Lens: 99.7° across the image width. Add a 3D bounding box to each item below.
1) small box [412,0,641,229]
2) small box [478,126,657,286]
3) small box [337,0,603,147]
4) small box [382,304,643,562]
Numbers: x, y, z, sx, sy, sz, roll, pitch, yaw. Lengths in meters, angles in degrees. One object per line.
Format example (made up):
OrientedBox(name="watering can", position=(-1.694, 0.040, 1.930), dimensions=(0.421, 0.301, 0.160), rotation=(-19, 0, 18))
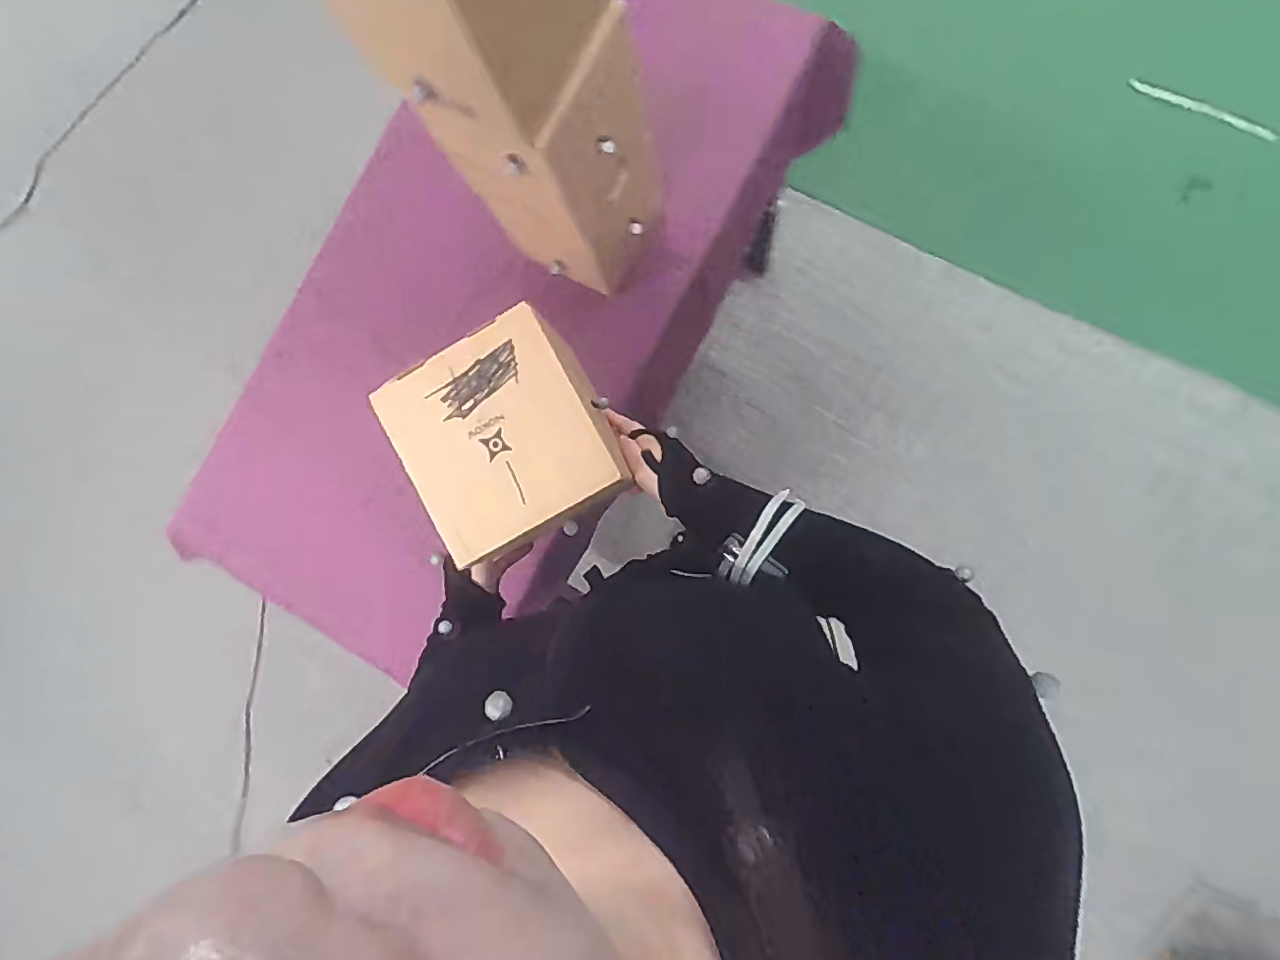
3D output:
OrientedBox(name="small box", position=(-0.115, -0.417, 0.608), dimensions=(0.179, 0.176, 0.168), rotation=(28, 89, 10))
OrientedBox(name="small box", position=(-0.089, -0.404, 0.771), dimensions=(0.179, 0.176, 0.168), rotation=(29, 89, 9))
OrientedBox(name="small box", position=(-0.145, -0.431, 0.448), dimensions=(0.168, 0.176, 0.179), rotation=(28, 90, 11))
OrientedBox(name="small box", position=(-0.111, -0.040, 0.544), dimensions=(0.168, 0.176, 0.179), rotation=(-28, 88, 6))
